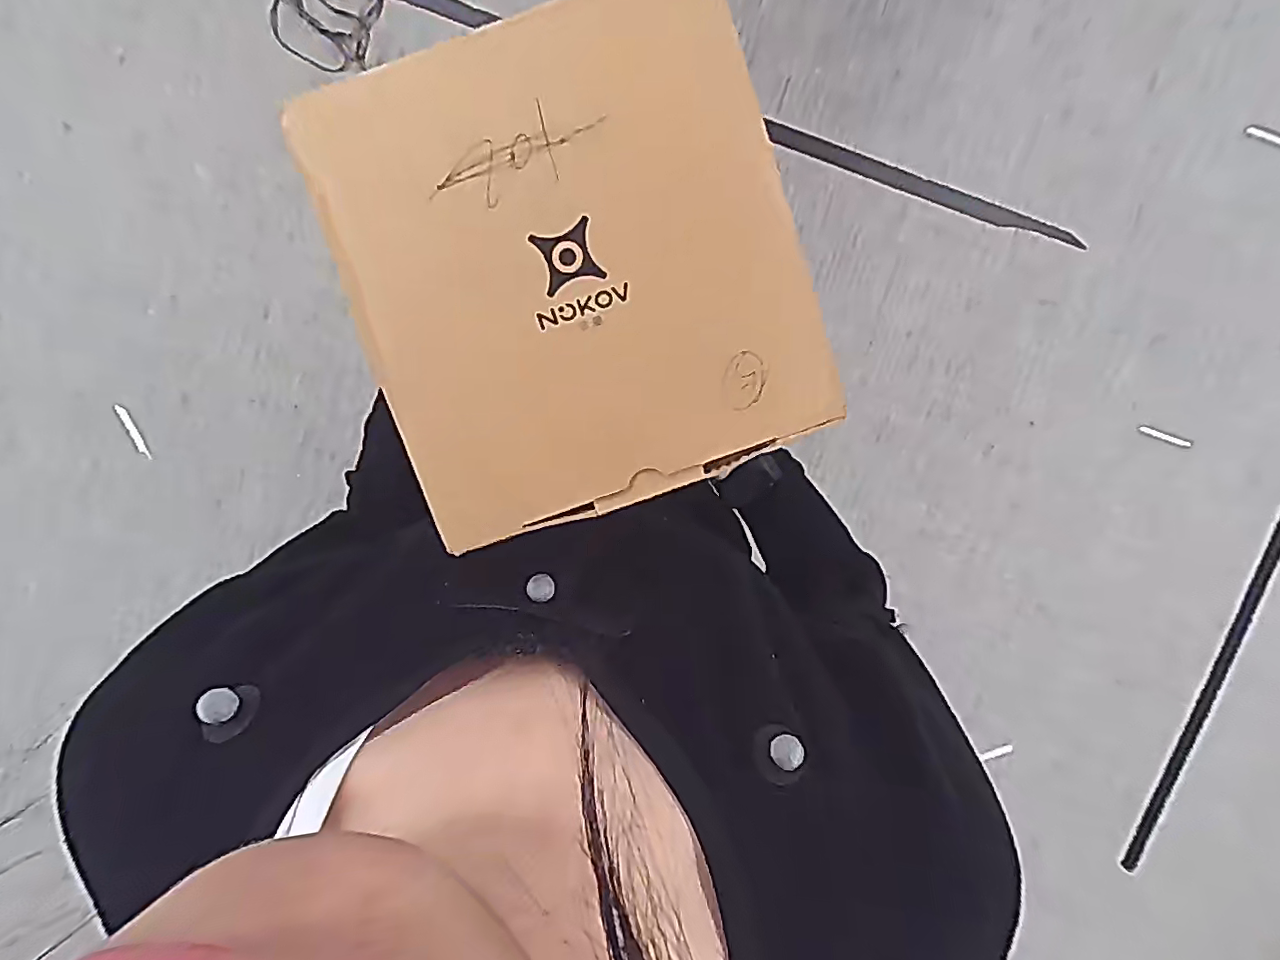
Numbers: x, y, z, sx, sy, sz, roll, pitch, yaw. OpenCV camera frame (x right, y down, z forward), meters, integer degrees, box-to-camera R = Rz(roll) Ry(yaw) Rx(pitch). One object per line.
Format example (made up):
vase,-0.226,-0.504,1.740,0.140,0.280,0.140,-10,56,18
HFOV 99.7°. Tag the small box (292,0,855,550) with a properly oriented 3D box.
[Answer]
small box,-0.021,-0.086,0.279,0.168,0.176,0.179,-20,94,1
